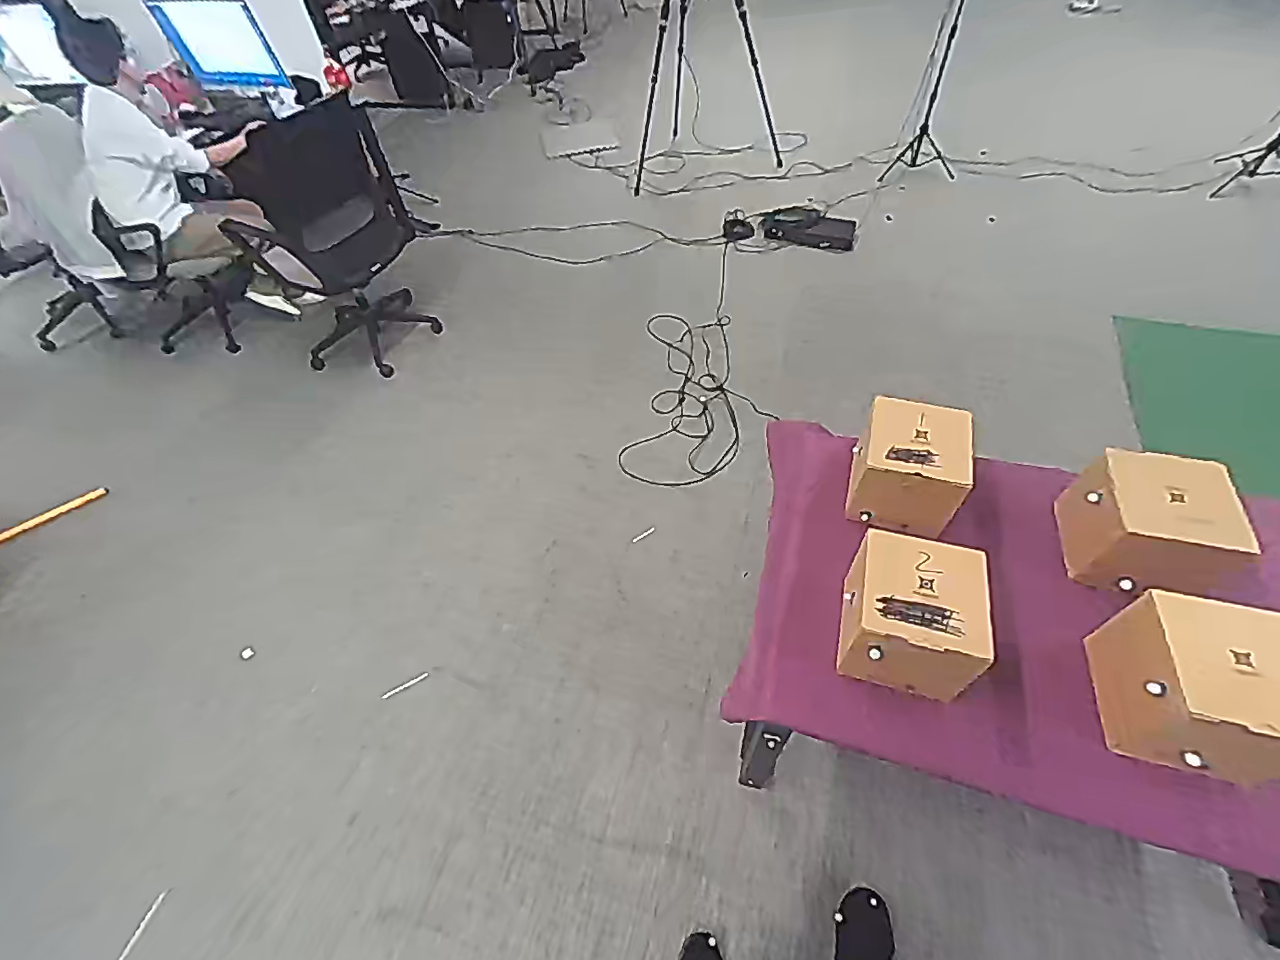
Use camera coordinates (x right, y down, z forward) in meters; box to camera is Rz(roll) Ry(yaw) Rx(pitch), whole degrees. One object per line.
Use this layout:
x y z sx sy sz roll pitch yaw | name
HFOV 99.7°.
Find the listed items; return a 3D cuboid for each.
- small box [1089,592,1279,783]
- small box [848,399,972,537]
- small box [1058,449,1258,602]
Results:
0.760 0.284 0.737 0.168 0.176 0.179 11 53 13 | small box
0.493 -0.019 1.001 0.168 0.176 0.179 13 55 15 | small box
0.831 0.079 0.895 0.168 0.176 0.179 11 54 15 | small box
